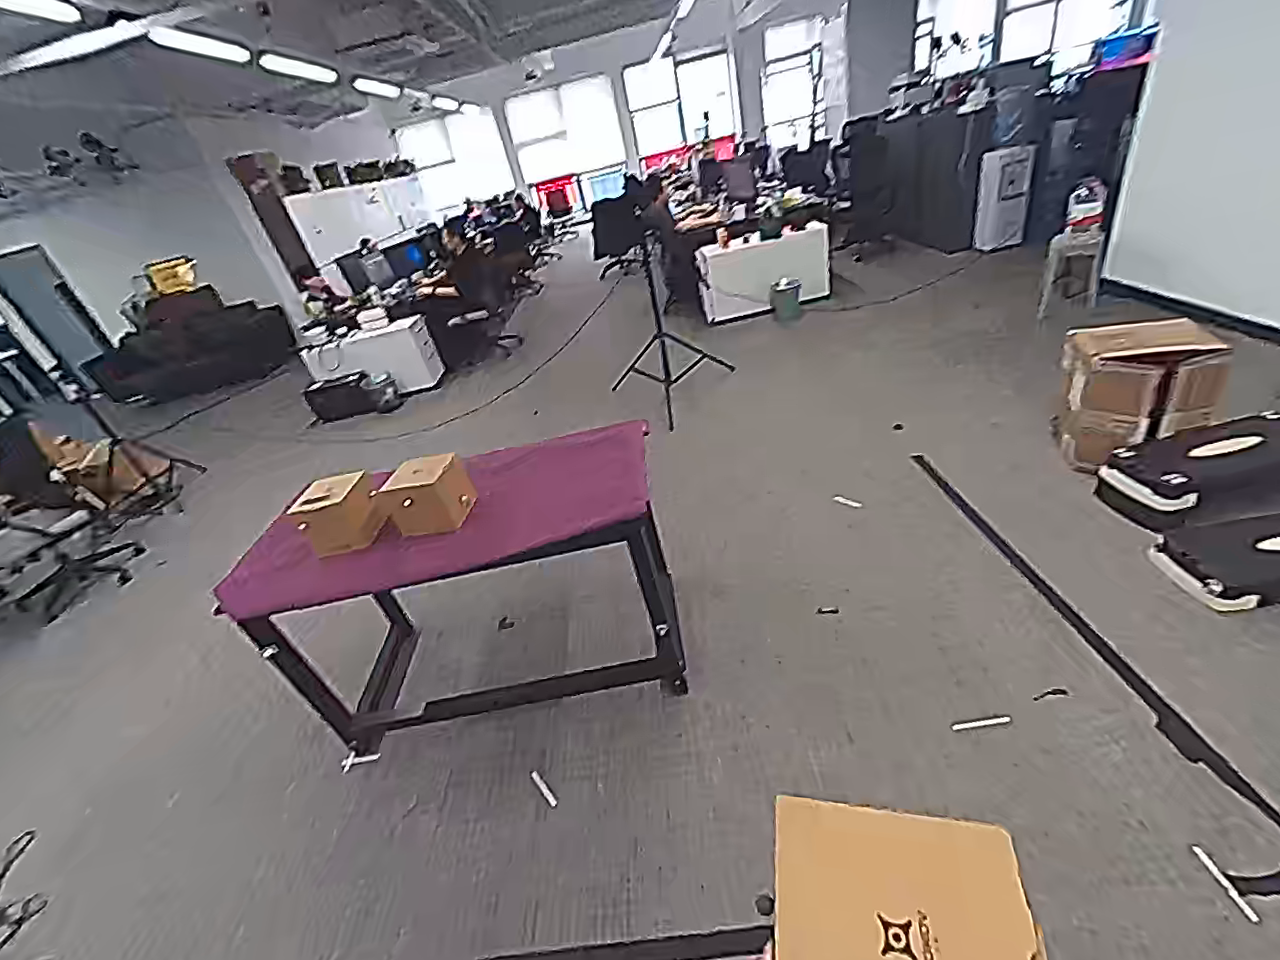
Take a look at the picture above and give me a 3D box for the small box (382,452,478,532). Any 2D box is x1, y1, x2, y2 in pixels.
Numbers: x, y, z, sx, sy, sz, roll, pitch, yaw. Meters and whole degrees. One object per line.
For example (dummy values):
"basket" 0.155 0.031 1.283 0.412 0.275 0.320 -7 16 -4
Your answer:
"small box" -0.608 0.038 1.587 0.179 0.176 0.168 -7 33 11

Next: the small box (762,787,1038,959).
"small box" 0.186 0.371 0.422 0.179 0.176 0.168 1 39 13
